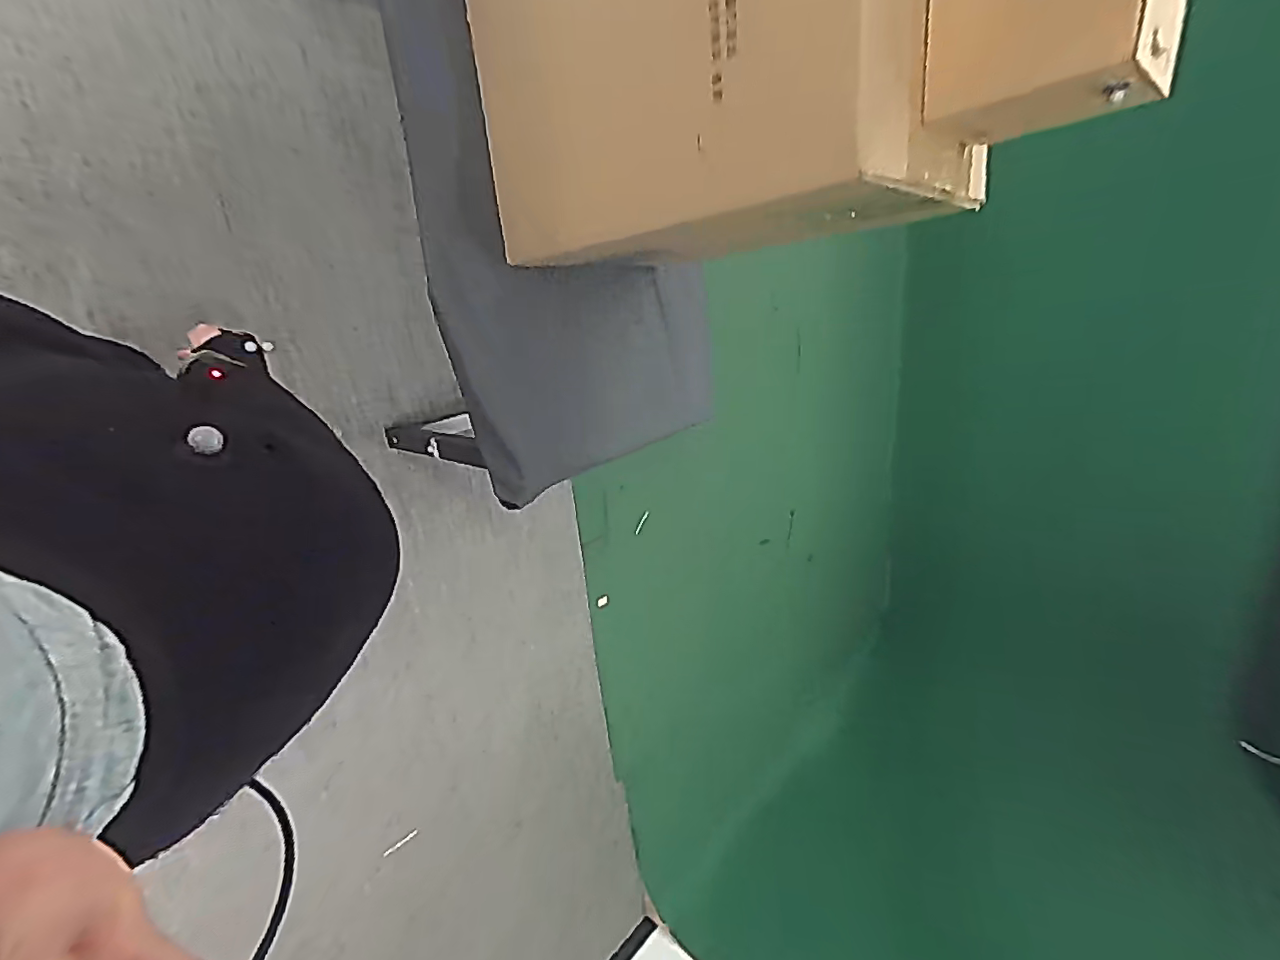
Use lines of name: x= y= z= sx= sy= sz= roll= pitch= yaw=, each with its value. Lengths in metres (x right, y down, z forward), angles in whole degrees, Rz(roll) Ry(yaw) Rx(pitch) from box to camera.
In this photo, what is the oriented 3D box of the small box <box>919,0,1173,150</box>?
small box: x=0.387 y=-0.450 z=0.521 sx=0.168 sy=0.176 sz=0.179 roll=-18 pitch=110 yaw=-38
